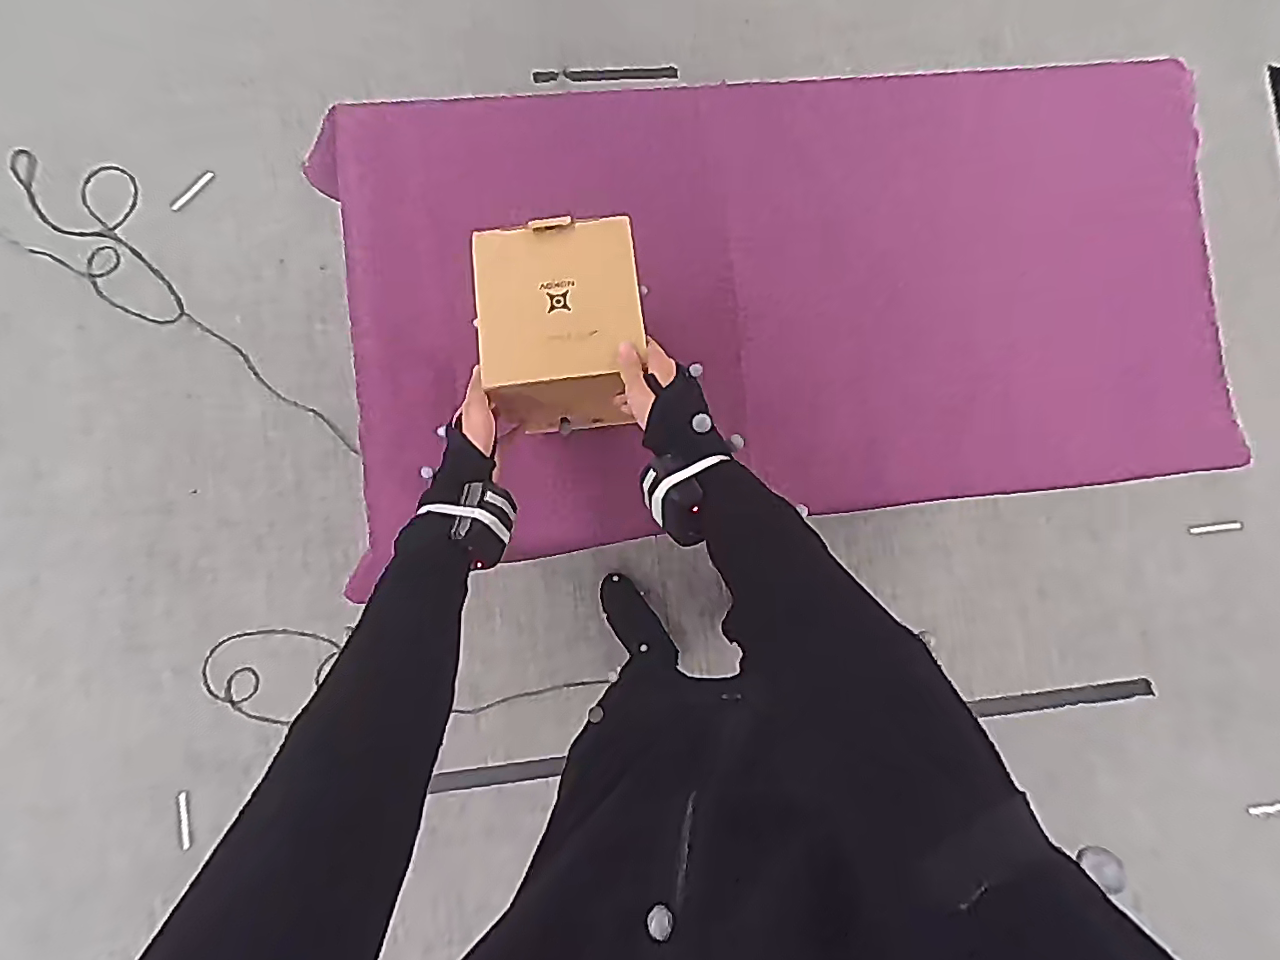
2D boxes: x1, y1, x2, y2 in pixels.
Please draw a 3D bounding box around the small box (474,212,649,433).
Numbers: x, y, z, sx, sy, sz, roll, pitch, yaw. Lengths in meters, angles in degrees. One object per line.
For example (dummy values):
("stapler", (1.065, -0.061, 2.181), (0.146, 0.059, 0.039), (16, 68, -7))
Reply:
("small box", (-0.081, -0.166, 0.610), (0.168, 0.176, 0.179), (-6, 78, -2))
